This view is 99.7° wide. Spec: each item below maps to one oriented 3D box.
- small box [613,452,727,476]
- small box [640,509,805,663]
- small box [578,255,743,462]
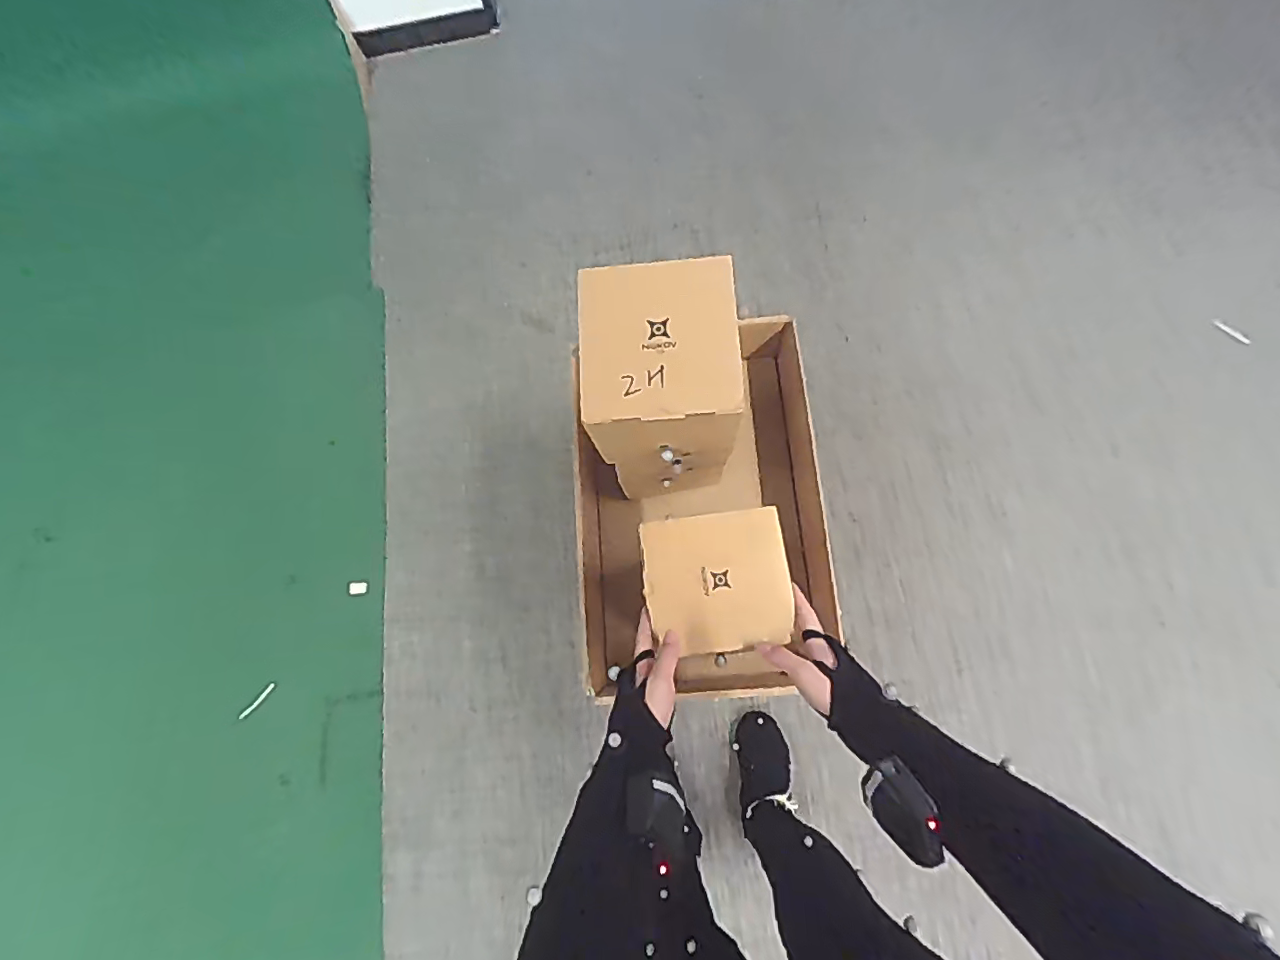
[{"bbox_3d":[0.037,-0.110,0.790,0.168,0.176,0.179,-11,78,3],"label":"small box"},{"bbox_3d":[0.103,0.146,0.716,0.179,0.176,0.168,-9,71,5],"label":"small box"},{"bbox_3d":[0.024,-0.128,0.625,0.168,0.176,0.179,-4,78,5],"label":"small box"}]
